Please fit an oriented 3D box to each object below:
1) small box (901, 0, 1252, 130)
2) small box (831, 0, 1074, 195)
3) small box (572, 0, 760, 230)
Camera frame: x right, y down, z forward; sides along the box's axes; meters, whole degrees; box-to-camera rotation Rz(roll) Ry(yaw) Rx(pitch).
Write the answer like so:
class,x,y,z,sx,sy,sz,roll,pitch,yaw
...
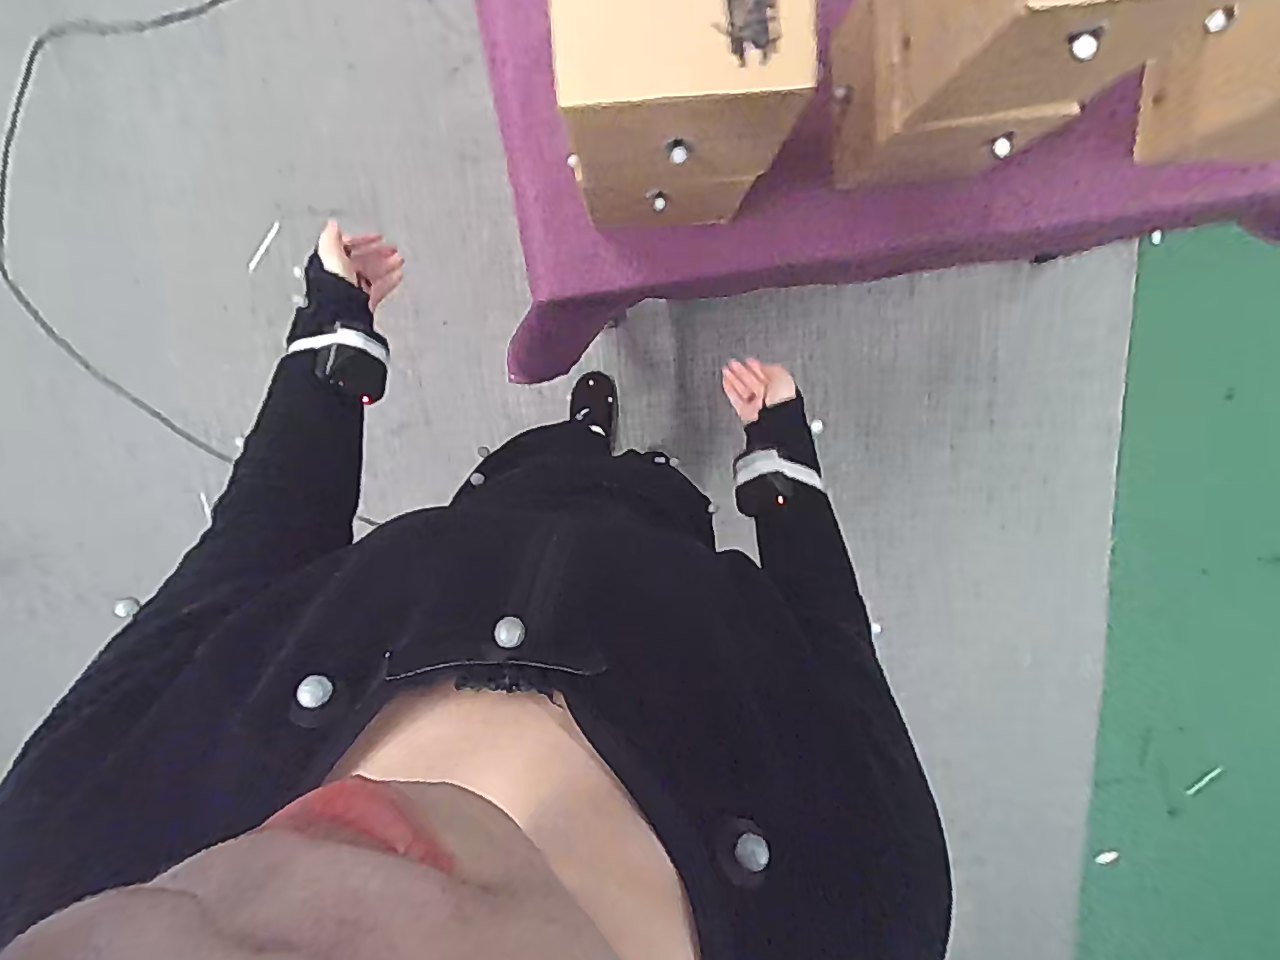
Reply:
class,x,y,z,sx,sy,sz,roll,pitch,yaw
small box,0.320,-0.400,0.417,0.179,0.176,0.168,-7,101,1
small box,0.322,-0.424,0.580,0.179,0.176,0.168,-4,100,1
small box,0.025,-0.381,0.592,0.179,0.176,0.168,0,101,0
